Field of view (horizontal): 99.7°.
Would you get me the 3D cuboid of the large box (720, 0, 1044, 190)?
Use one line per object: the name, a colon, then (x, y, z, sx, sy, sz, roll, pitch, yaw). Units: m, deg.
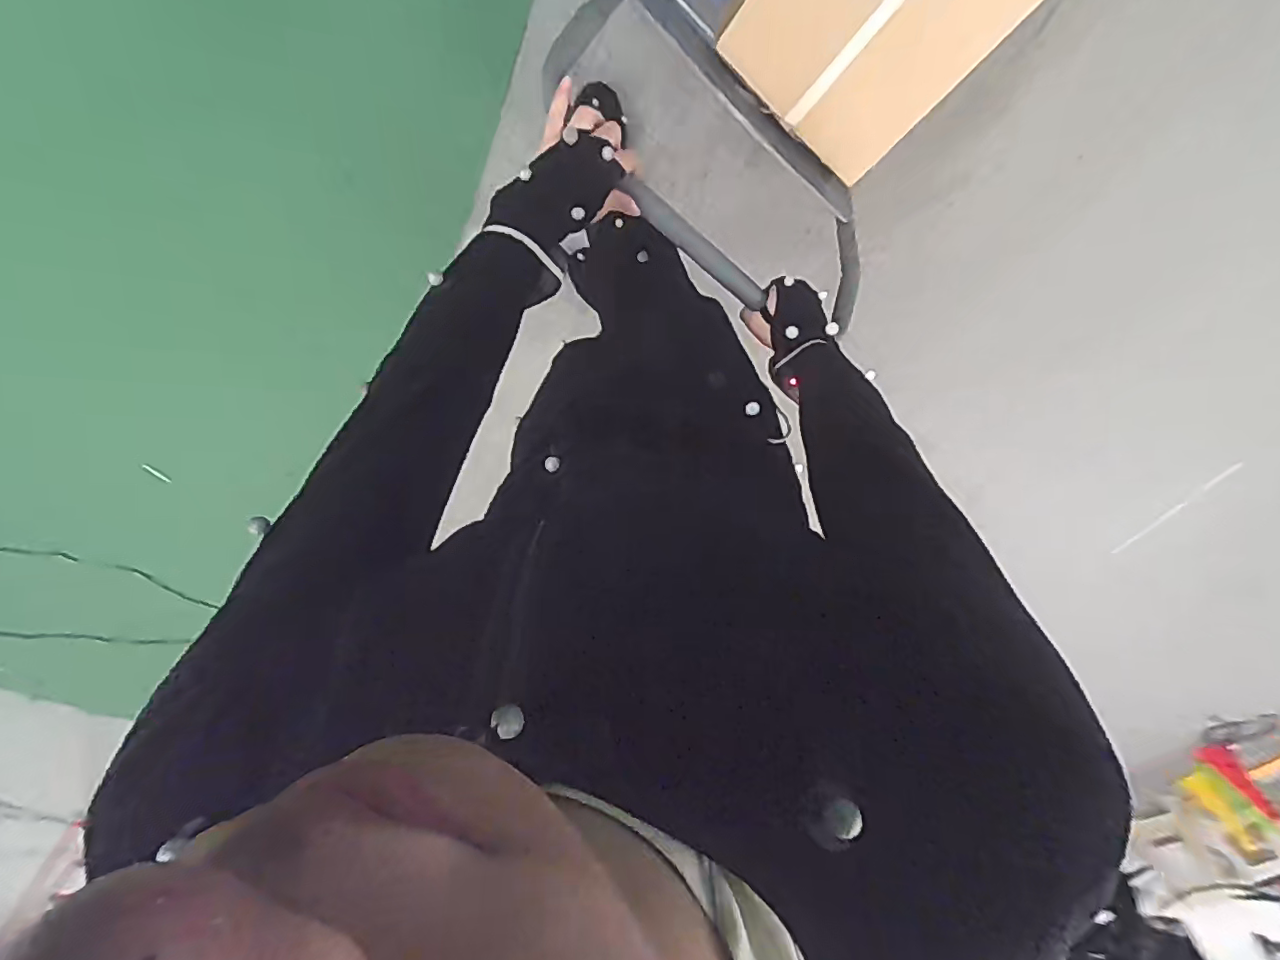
large box: (0.376, -0.776, 0.855, 0.320, 0.320, 0.408, 32, 134, -23)
